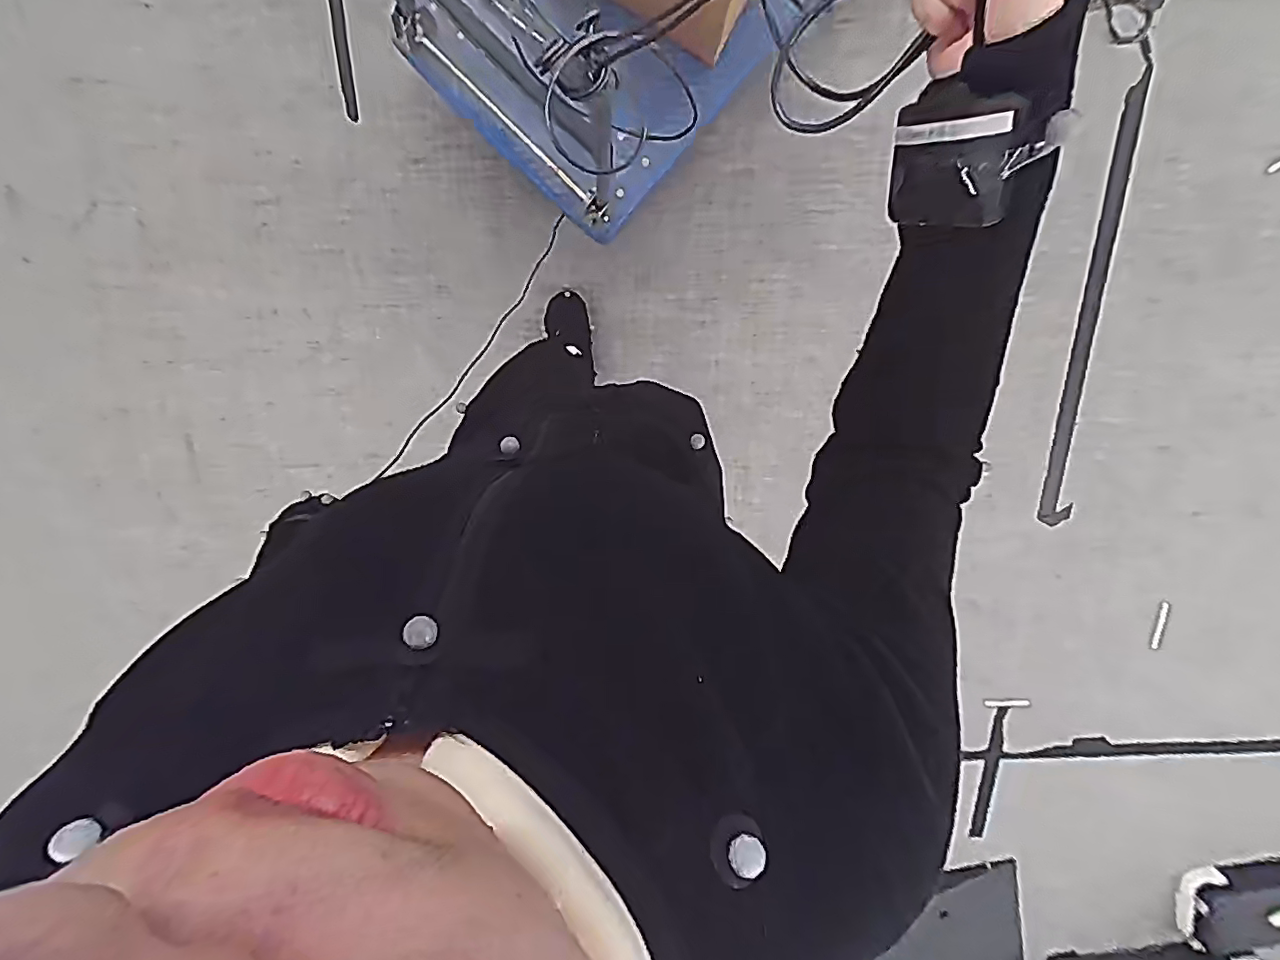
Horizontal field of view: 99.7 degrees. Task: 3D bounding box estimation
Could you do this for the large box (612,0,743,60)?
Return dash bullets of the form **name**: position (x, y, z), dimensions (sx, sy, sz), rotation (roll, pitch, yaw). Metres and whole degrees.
- **large box**: position (0.042, -1.012, 0.881), dimensions (0.408, 0.320, 0.320), rotation (27, 104, -8)
